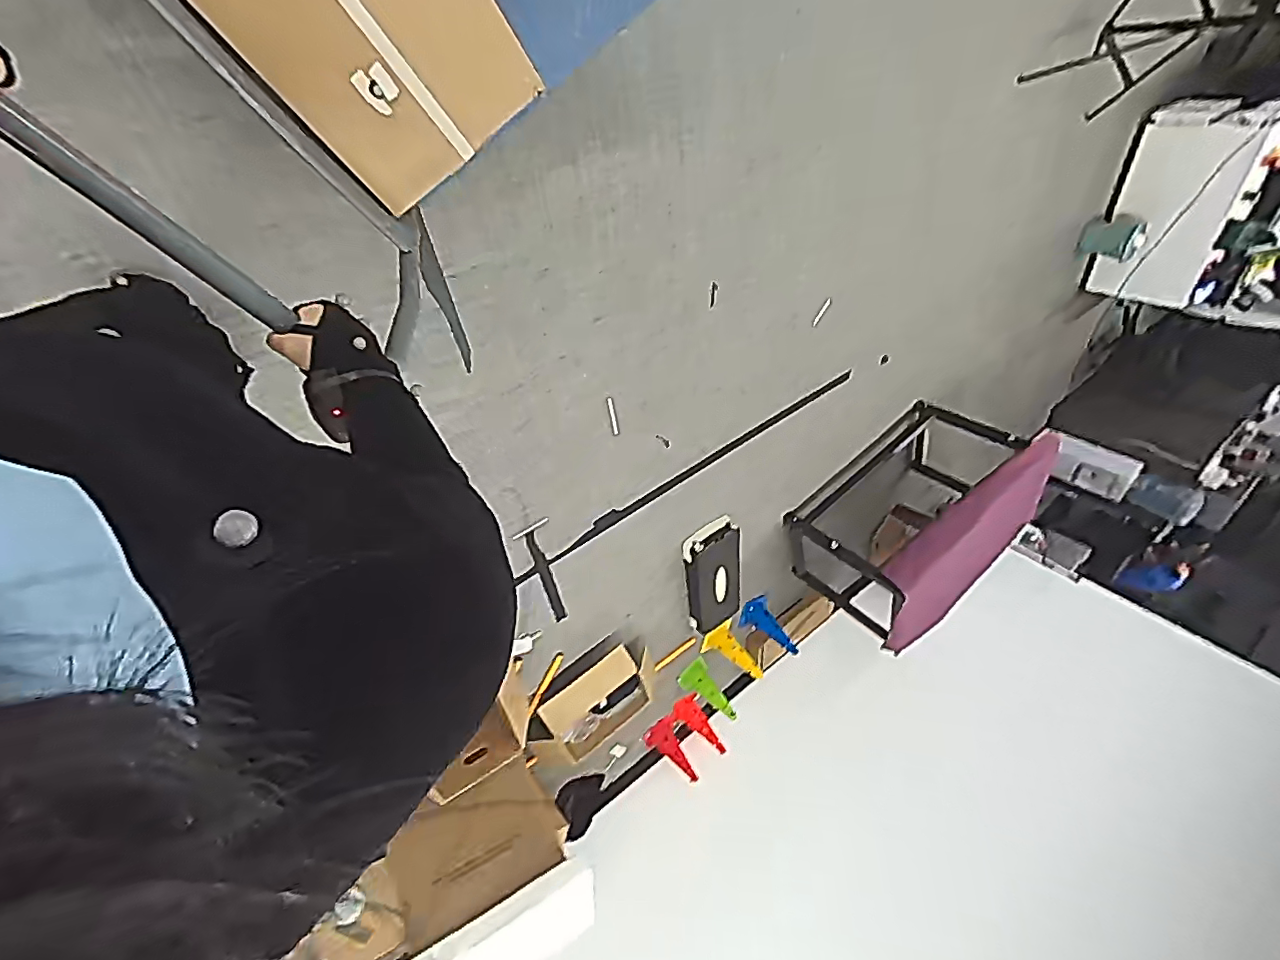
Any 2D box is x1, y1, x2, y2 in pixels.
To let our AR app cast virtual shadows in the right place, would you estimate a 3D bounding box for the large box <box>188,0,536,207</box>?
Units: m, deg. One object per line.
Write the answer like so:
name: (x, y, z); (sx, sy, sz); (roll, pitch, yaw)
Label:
large box: (-0.430, -0.724, 0.815); (0.320, 0.320, 0.408); (-34, 139, 9)
